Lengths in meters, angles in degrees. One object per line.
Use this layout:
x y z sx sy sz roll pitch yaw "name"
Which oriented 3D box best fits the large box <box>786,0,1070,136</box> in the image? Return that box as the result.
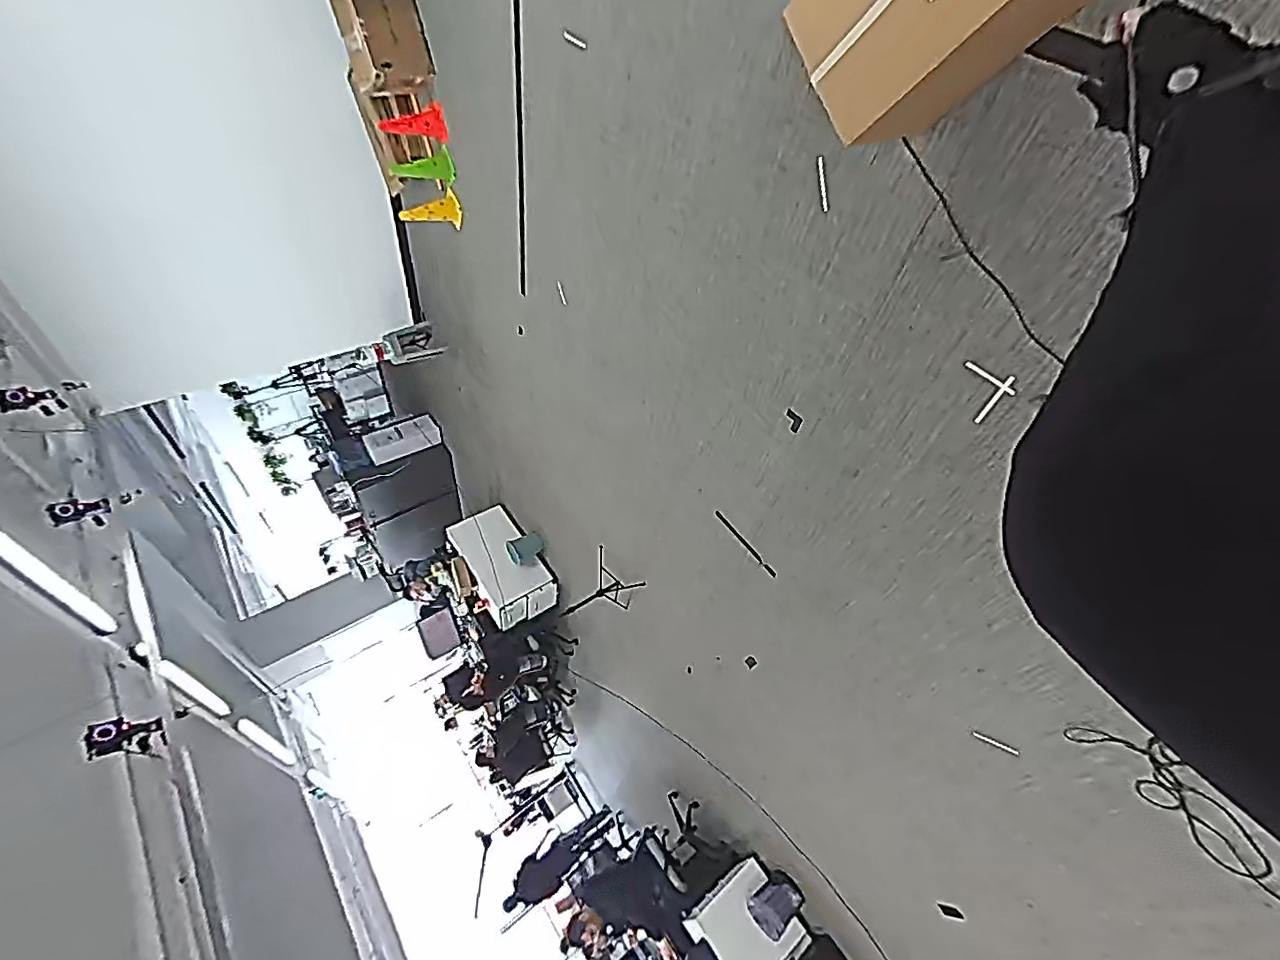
0.571 -0.949 1.032 0.408 0.320 0.320 -22 96 59 "large box"
